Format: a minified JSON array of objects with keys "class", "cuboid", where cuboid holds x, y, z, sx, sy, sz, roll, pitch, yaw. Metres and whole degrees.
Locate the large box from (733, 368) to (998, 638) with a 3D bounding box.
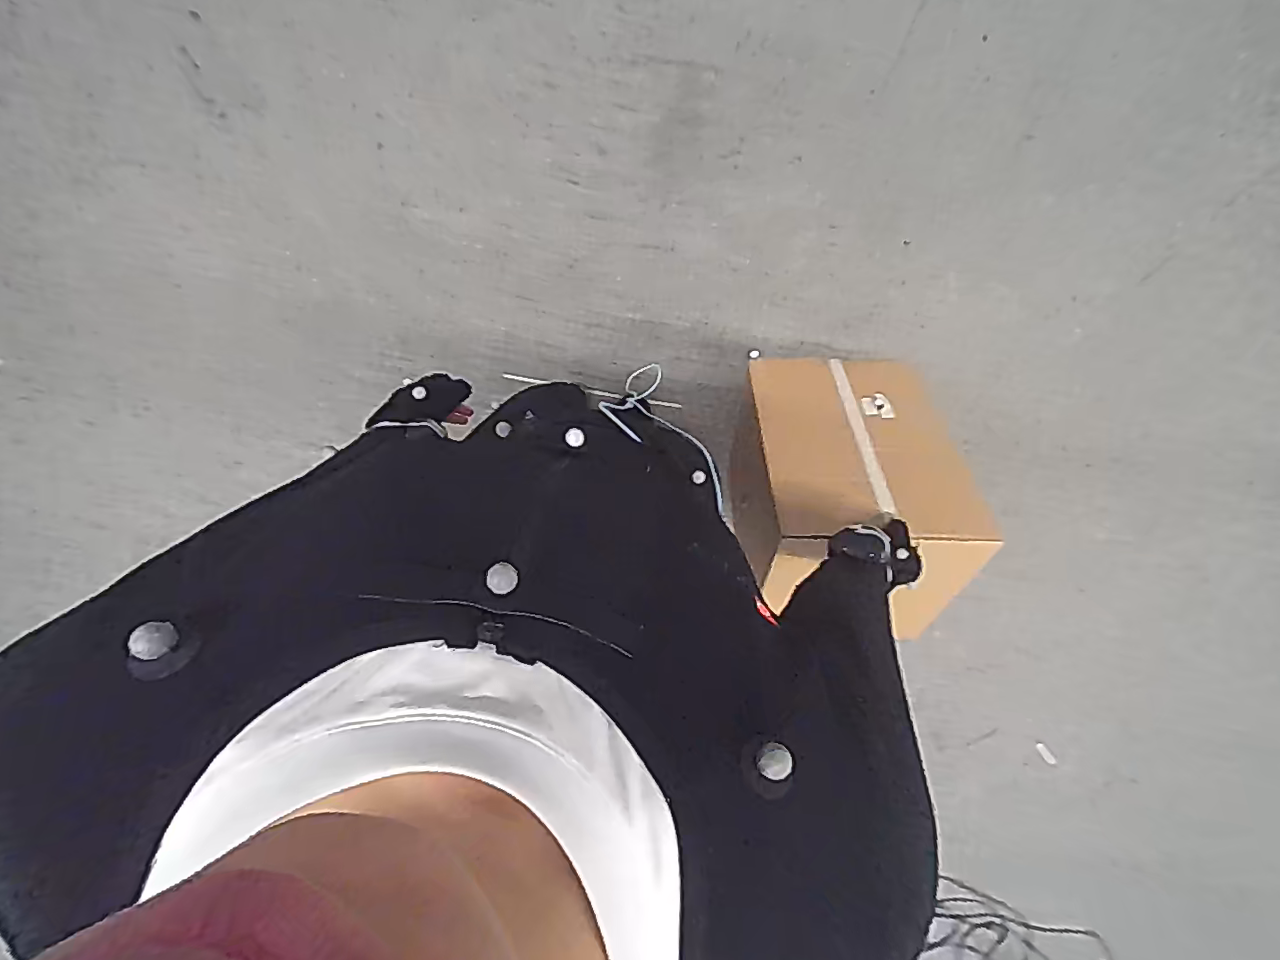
[{"class":"large box","cuboid":[0.357,0.042,1.000,0.320,0.408,0.320,2,139,1]}]
